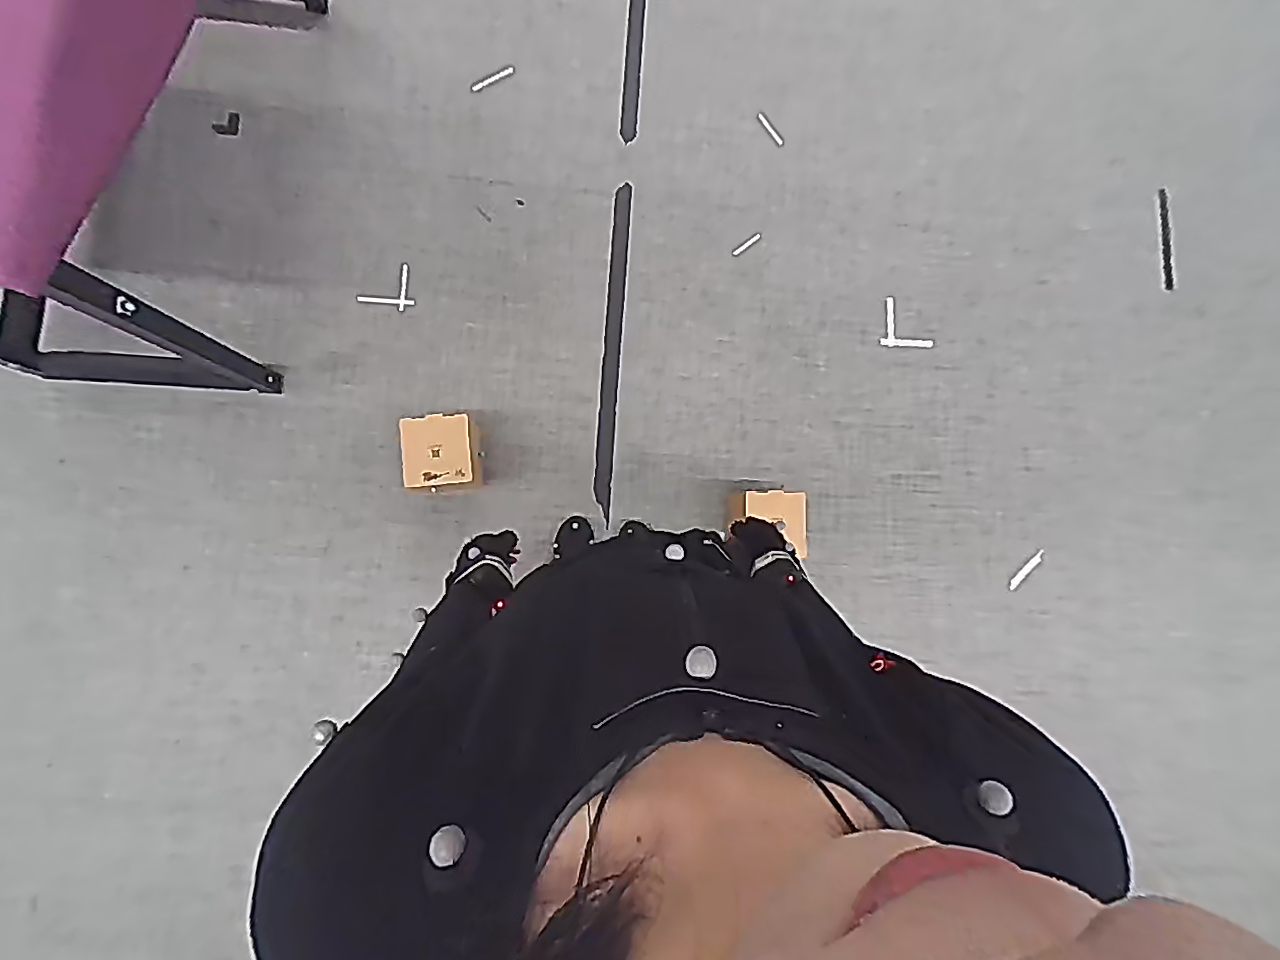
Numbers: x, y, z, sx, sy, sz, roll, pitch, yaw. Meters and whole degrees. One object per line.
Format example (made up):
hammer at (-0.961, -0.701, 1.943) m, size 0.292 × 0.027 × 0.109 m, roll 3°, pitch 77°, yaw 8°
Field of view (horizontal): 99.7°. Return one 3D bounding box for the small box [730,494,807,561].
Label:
small box at (0.347, 0.132, 1.487) m, size 0.168 × 0.176 × 0.179 m, roll 1°, pitch 85°, yaw -5°

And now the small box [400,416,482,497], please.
small box at (-0.512, -0.057, 1.407) m, size 0.168 × 0.176 × 0.179 m, roll -5°, pitch 84°, yaw -7°
